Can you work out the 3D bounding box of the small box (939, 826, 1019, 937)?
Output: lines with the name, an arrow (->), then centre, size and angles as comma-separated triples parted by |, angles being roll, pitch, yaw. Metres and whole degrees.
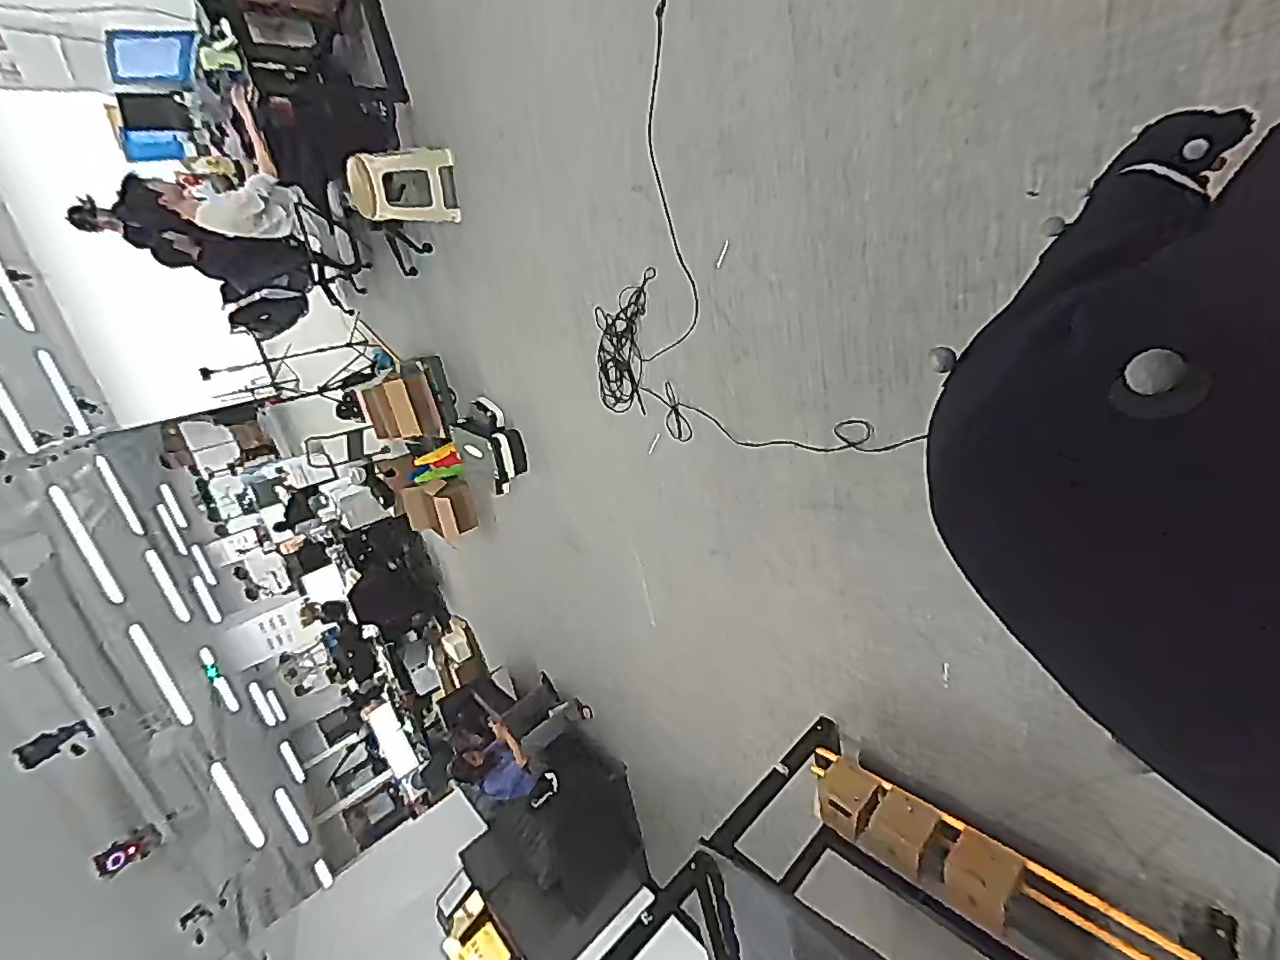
small box -> 1.050, 1.236, 1.676 | 0.168, 0.176, 0.179 | 13, 118, 50
